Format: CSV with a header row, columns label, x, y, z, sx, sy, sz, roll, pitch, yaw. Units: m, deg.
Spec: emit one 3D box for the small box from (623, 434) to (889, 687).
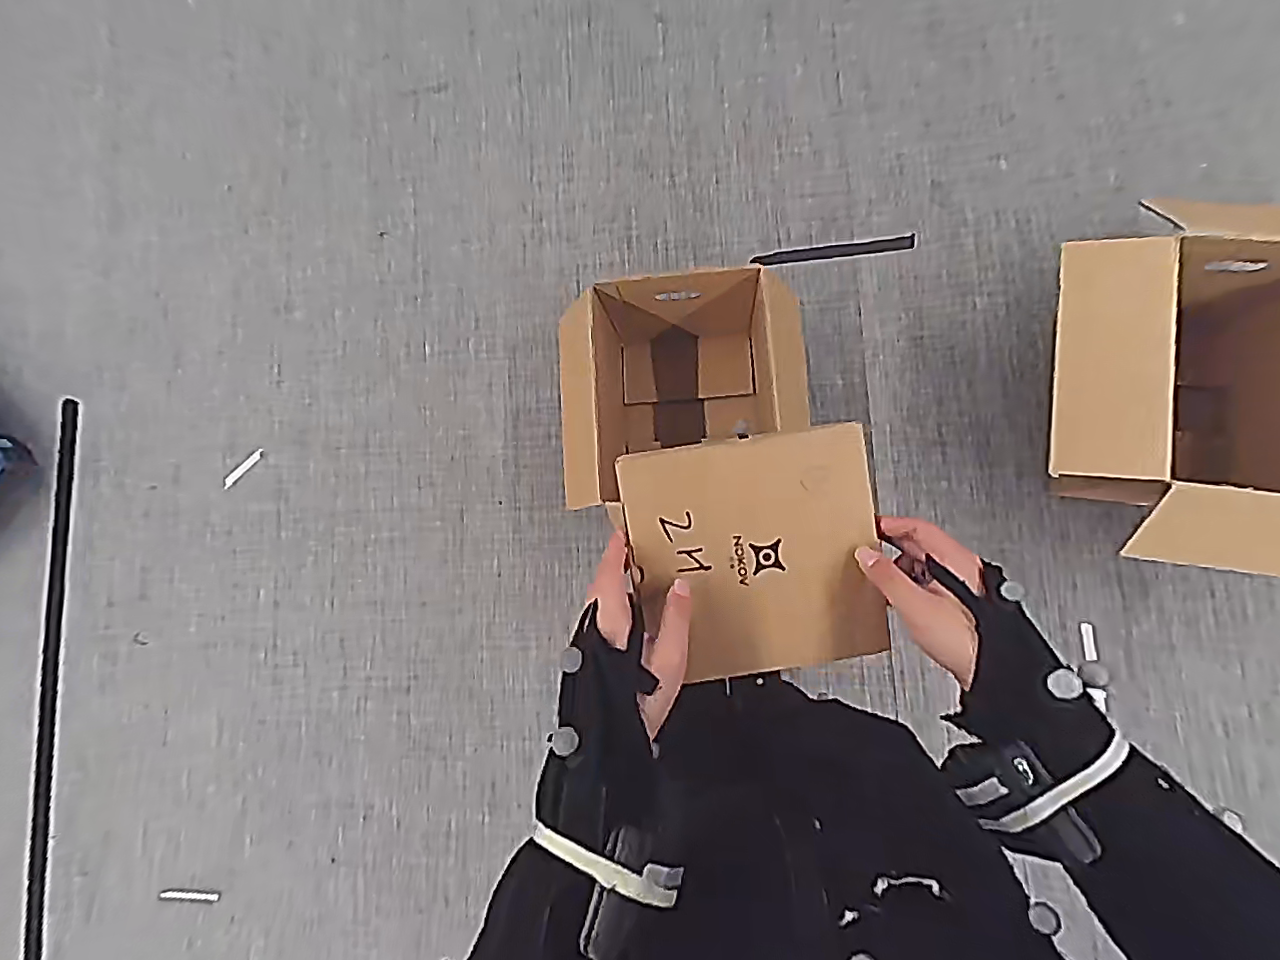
label,x,y,z,sx,sy,sz,roll,pitch,yaw
small box,0.083,0.053,0.462,0.179,0.176,0.168,-8,93,1
